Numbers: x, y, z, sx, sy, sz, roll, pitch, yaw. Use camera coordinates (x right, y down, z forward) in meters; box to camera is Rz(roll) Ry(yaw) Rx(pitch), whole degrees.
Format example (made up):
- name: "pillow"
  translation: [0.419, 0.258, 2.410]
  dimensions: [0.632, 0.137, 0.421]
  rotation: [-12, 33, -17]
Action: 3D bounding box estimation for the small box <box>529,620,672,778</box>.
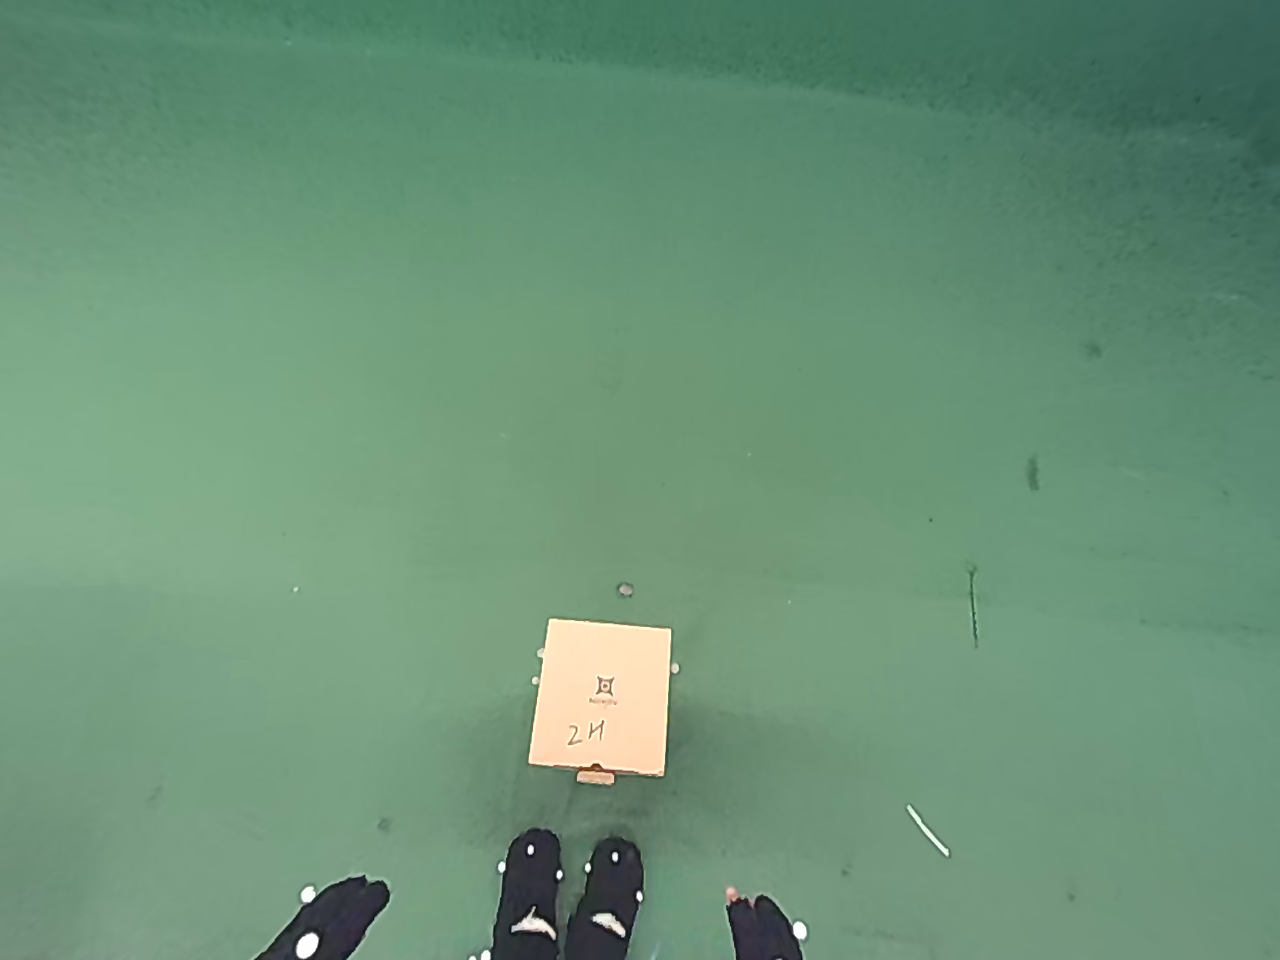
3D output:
- name: "small box"
  translation: [-0.050, 0.306, 0.752]
  dimensions: [0.168, 0.176, 0.179]
  rotation: [5, 64, -1]
